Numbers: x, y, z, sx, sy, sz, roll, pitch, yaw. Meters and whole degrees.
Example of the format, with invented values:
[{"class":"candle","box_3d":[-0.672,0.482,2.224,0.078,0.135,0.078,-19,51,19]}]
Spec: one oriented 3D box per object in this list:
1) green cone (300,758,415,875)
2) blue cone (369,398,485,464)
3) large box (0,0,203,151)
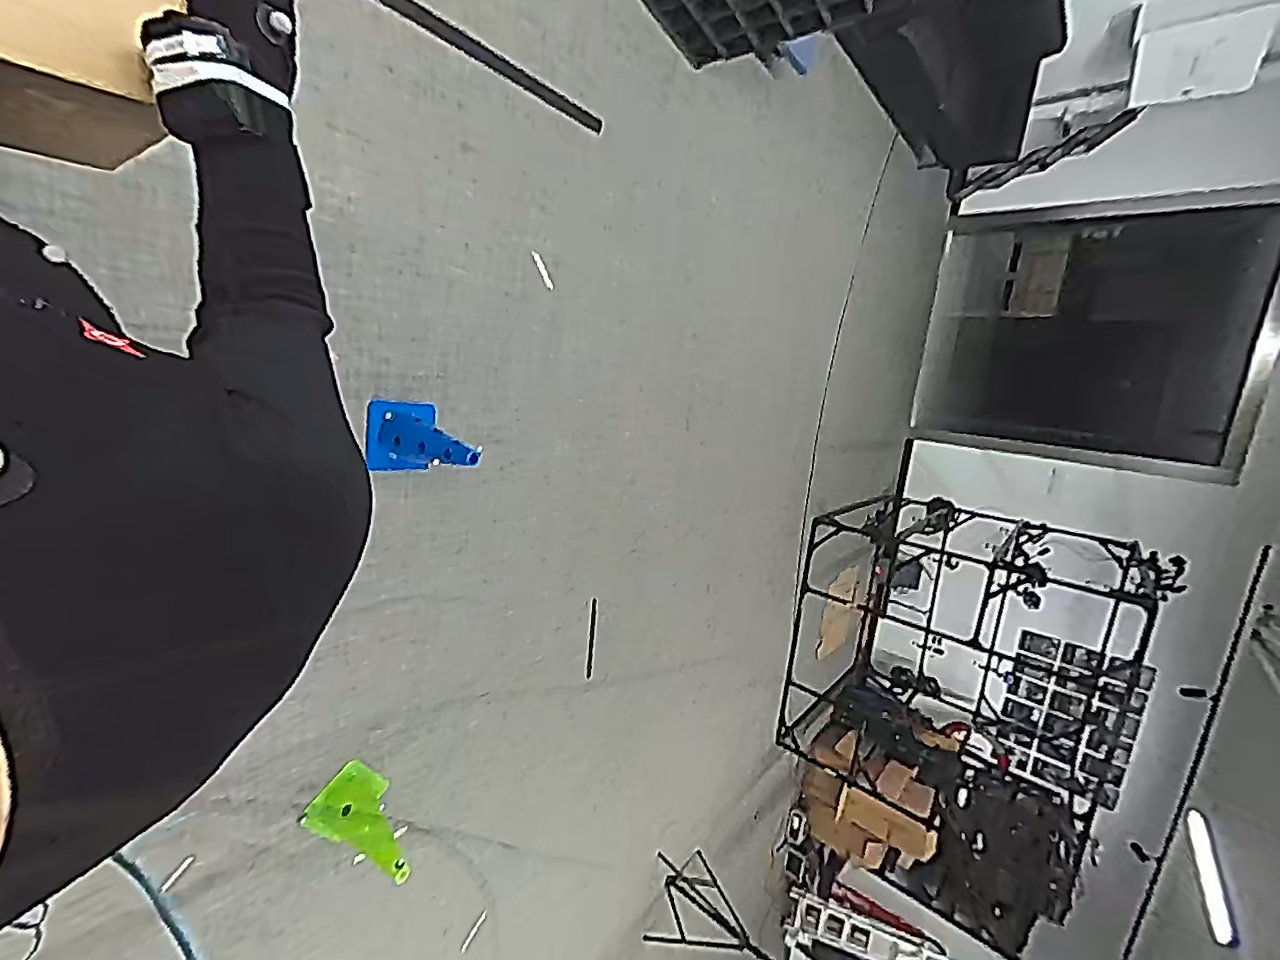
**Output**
[{"class":"green cone","box_3d":[-0.761,1.004,1.544,0.202,0.368,0.200,-50,137,-31]},{"class":"blue cone","box_3d":[-0.555,-0.106,1.461,0.192,0.380,0.193,-3,104,-52]},{"class":"large box","box_3d":[-0.547,-0.426,0.290,0.408,0.320,0.320,-13,114,-51]}]
